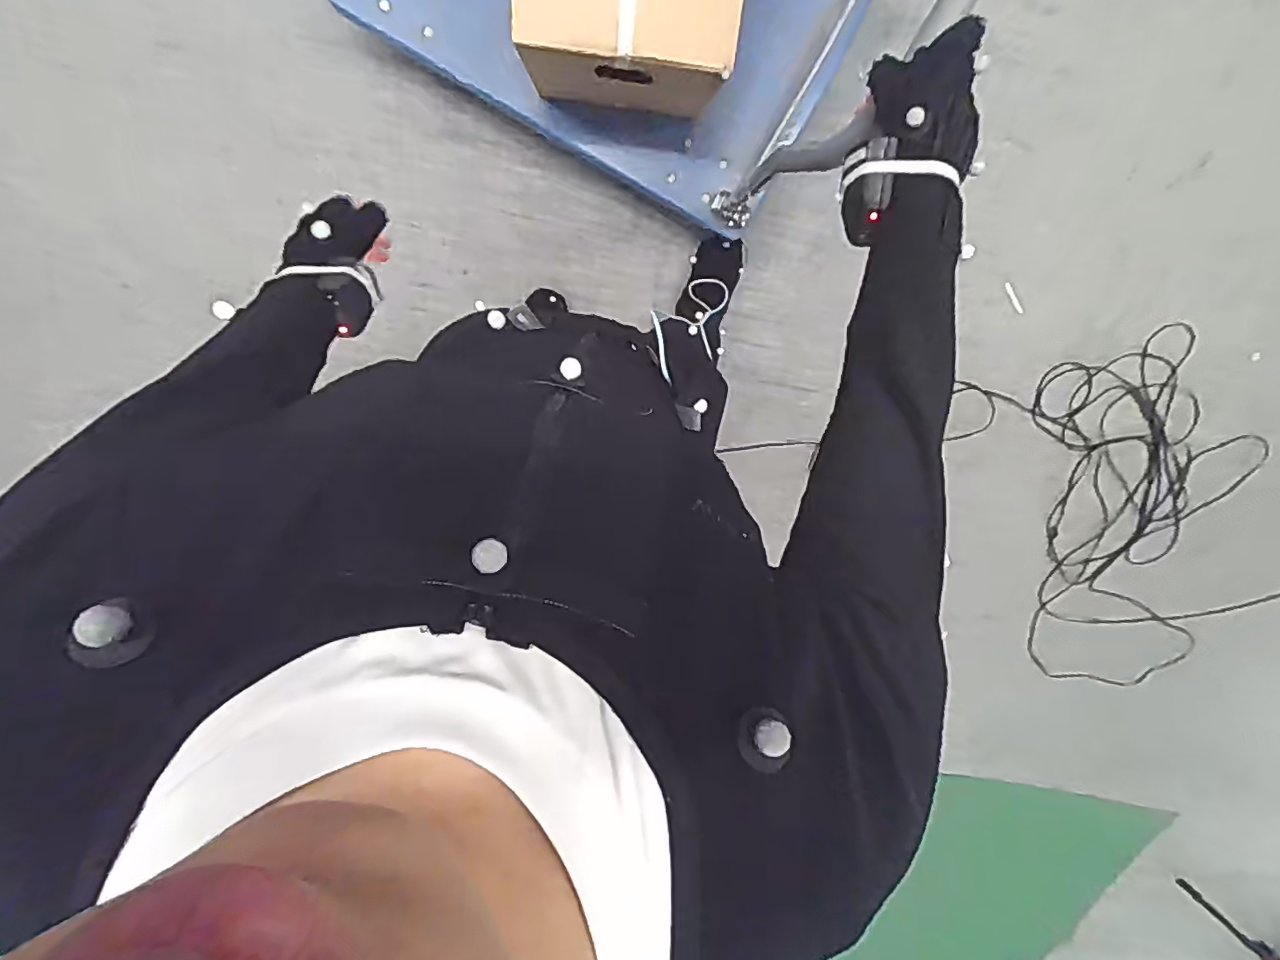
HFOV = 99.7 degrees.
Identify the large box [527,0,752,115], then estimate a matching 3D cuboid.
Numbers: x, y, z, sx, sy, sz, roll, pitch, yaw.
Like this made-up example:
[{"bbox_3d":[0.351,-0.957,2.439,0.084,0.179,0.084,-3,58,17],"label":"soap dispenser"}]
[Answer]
[{"bbox_3d":[0.002,-0.834,0.821,0.320,0.320,0.408,4,115,-4],"label":"large box"}]
